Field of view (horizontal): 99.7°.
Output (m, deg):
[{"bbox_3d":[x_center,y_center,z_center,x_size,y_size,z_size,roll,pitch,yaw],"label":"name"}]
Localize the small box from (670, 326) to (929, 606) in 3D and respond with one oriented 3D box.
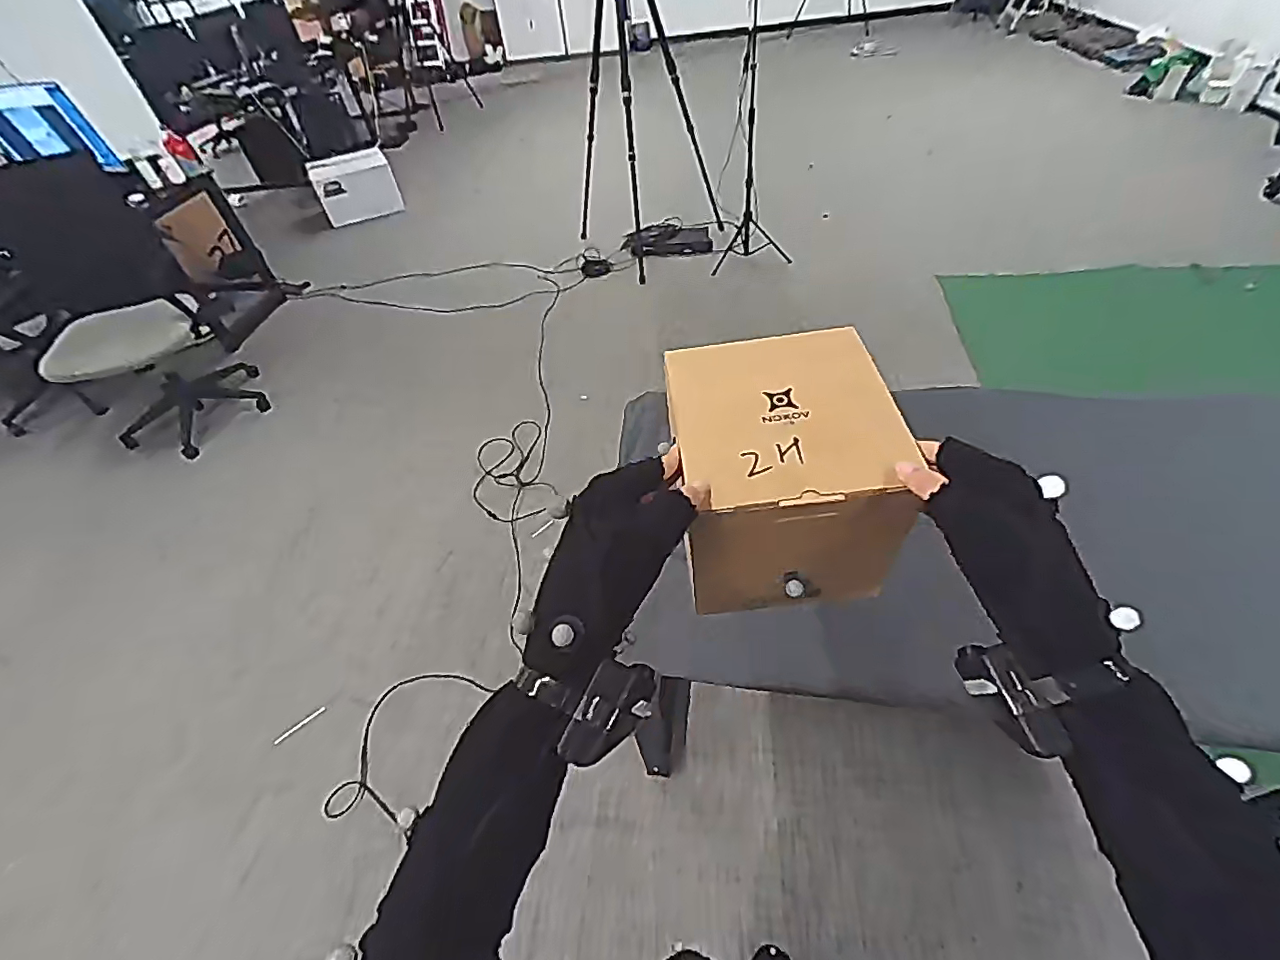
[{"bbox_3d":[0.118,-0.009,0.482,0.168,0.176,0.179,-7,51,3],"label":"small box"}]
